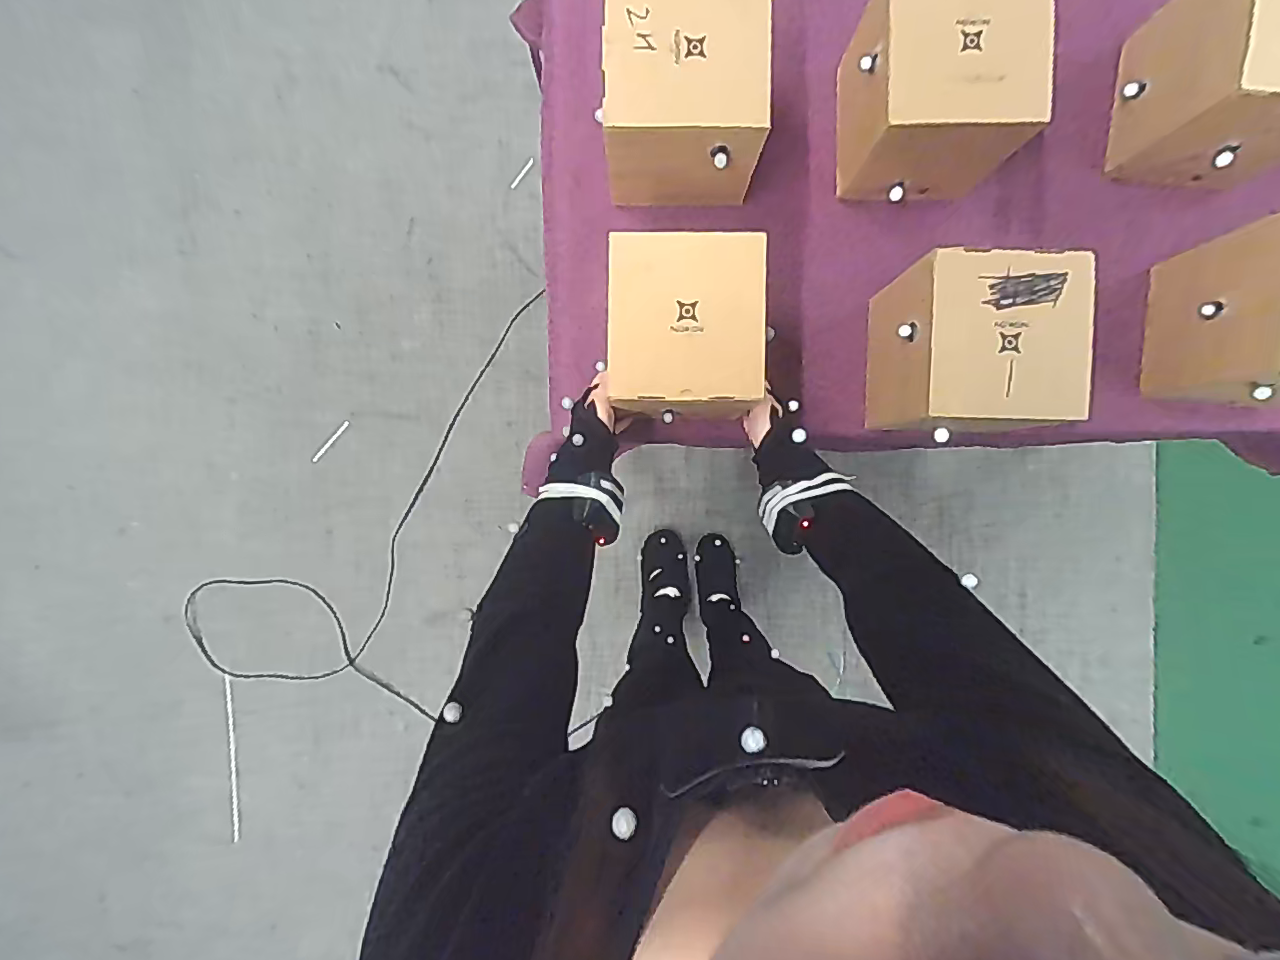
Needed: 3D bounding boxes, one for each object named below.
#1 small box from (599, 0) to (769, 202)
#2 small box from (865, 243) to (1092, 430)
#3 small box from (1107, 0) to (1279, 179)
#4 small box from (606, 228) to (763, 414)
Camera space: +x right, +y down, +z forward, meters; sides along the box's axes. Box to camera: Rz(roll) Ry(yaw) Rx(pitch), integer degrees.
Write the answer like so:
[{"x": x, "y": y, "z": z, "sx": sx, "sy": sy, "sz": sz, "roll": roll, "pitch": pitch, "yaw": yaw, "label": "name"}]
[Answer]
[{"x": 0.046, "y": -0.448, "z": 0.635, "sx": 0.179, "sy": 0.176, "sz": 0.168, "roll": 1, "pitch": 91, "yaw": 1, "label": "small box"}, {"x": 0.377, "y": -0.154, "z": 0.632, "sx": 0.168, "sy": 0.176, "sz": 0.179, "roll": 1, "pitch": 91, "yaw": 2, "label": "small box"}, {"x": 0.689, "y": -0.475, "z": 0.617, "sx": 0.168, "sy": 0.176, "sz": 0.179, "roll": 6, "pitch": 92, "yaw": 1, "label": "small box"}, {"x": 0.046, "y": -0.176, "z": 0.642, "sx": 0.168, "sy": 0.176, "sz": 0.179, "roll": 0, "pitch": 92, "yaw": 1, "label": "small box"}]
